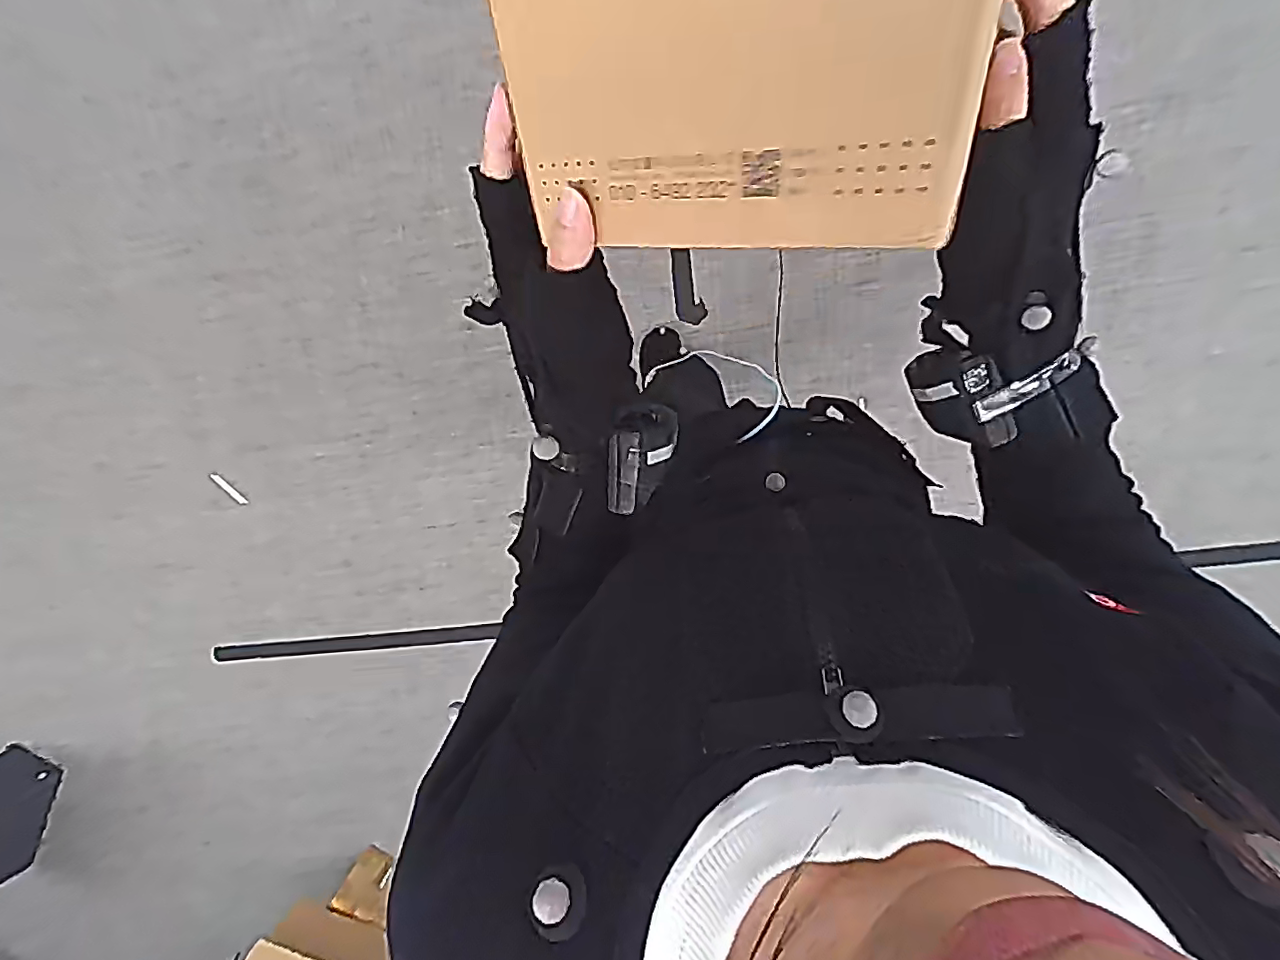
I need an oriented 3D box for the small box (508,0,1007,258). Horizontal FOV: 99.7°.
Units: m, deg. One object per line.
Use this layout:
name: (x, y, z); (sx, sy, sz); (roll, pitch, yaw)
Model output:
small box: (0.059, -0.203, 0.224); (0.168, 0.179, 0.176); (12, 133, 25)
